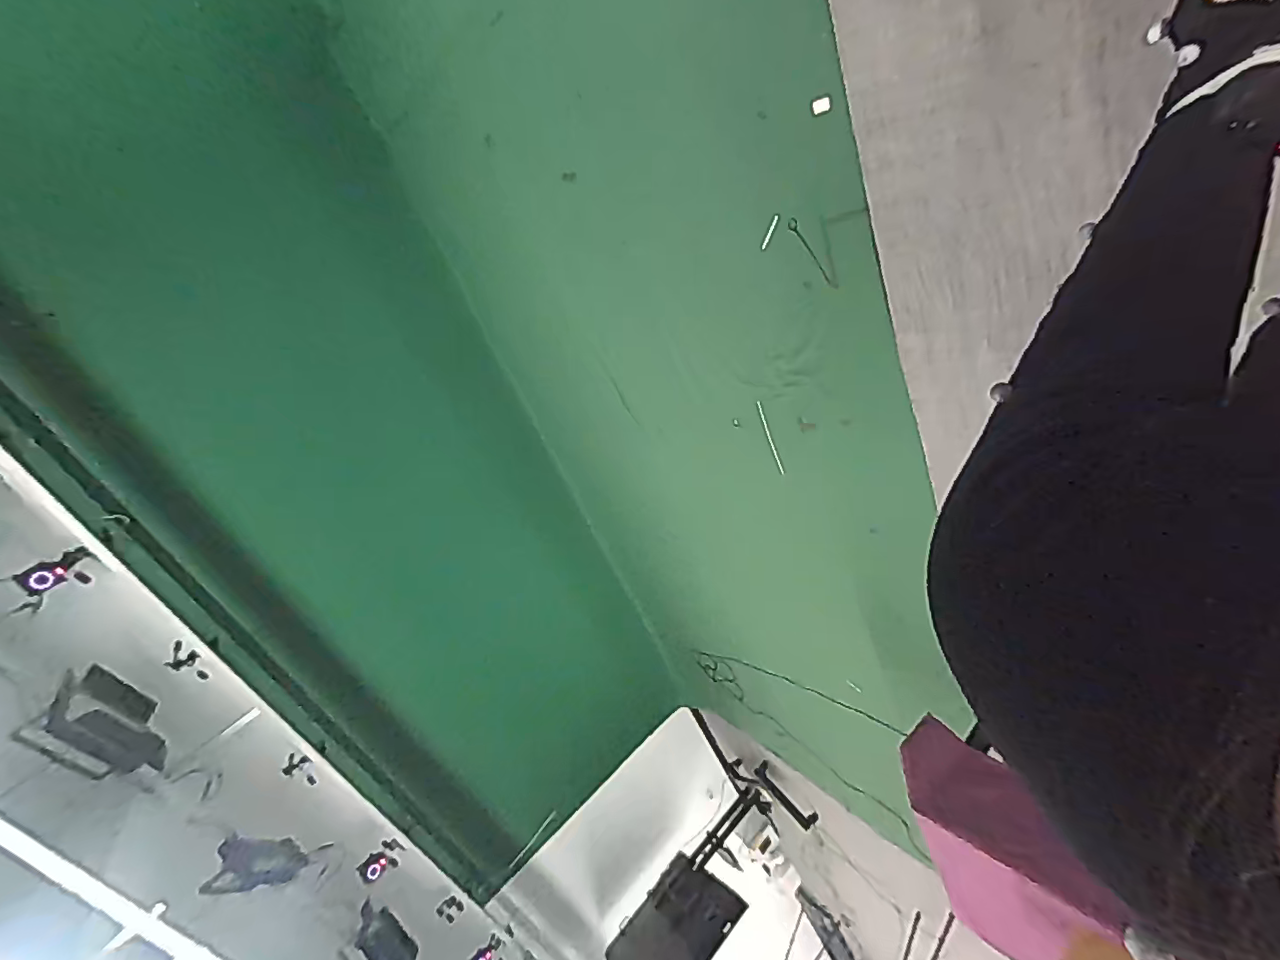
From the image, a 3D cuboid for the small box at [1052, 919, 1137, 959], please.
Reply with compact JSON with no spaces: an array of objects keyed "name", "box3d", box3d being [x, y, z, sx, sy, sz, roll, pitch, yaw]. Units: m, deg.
[{"name":"small box","box3d":[1.054,1.164,1.224,0.179,0.176,0.168,13,134,56]}]
